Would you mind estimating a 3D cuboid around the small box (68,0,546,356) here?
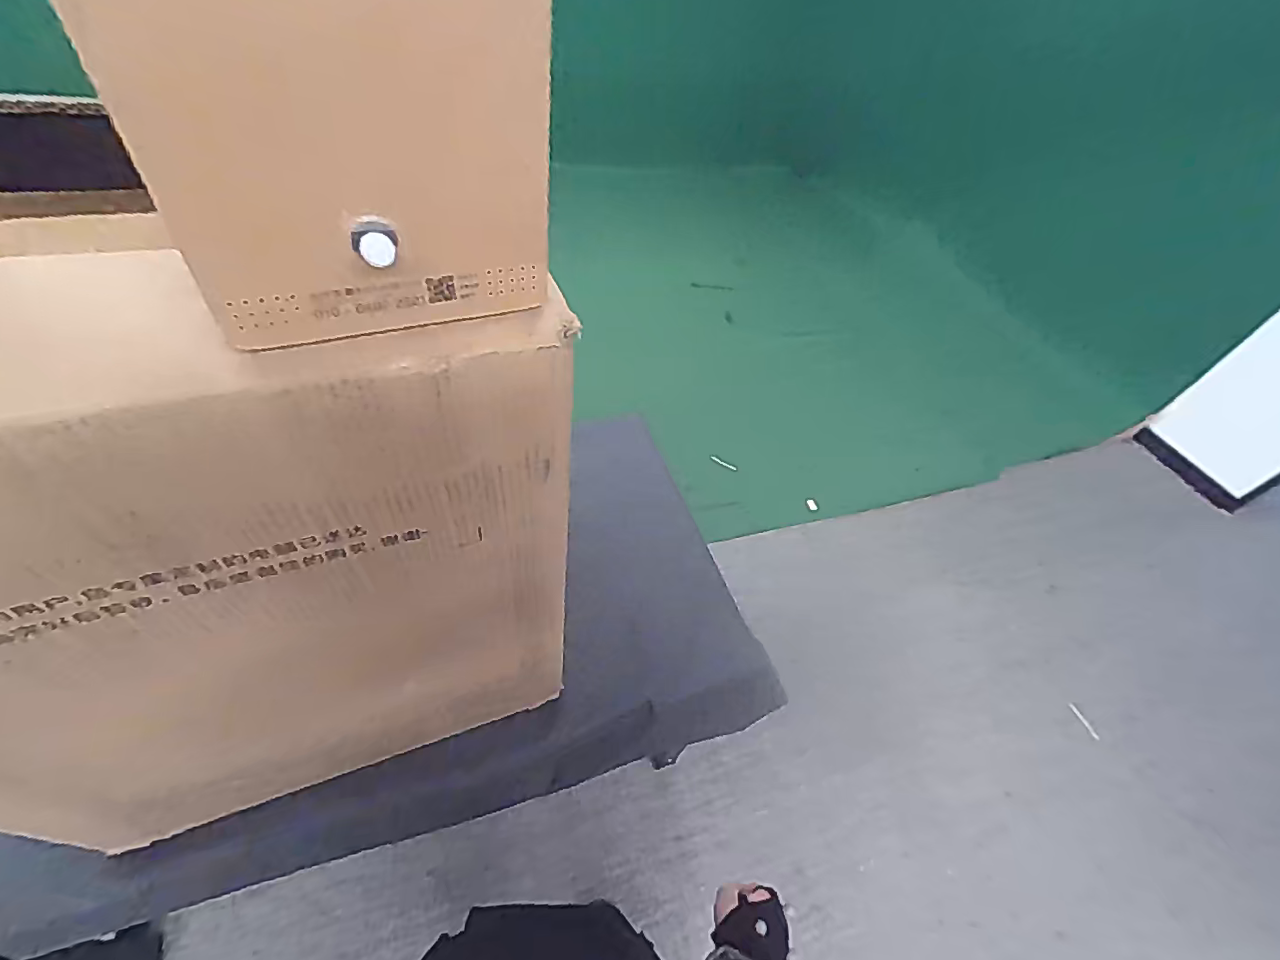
[{"bbox_3d":[-0.159,-0.193,0.290,0.168,0.176,0.179,-17,55,-23],"label":"small box"}]
